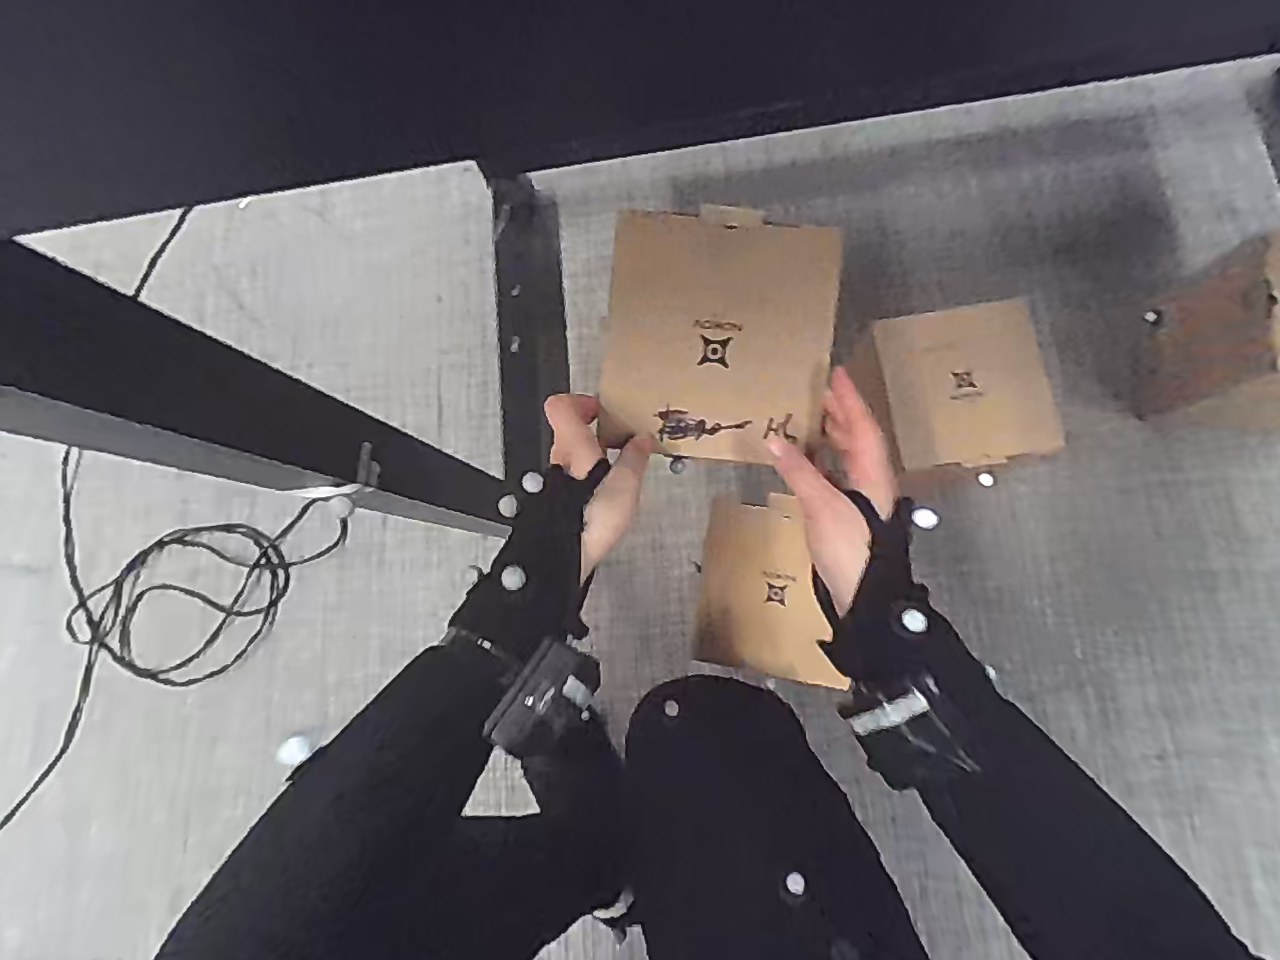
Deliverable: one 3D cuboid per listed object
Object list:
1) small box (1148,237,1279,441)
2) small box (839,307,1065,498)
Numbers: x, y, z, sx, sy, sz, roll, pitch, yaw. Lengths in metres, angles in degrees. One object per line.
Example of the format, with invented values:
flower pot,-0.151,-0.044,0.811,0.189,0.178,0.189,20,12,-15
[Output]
small box,0.735,-0.149,0.618,0.179,0.176,0.168,7,80,7
small box,0.355,-0.078,0.654,0.168,0.176,0.179,-8,77,5
